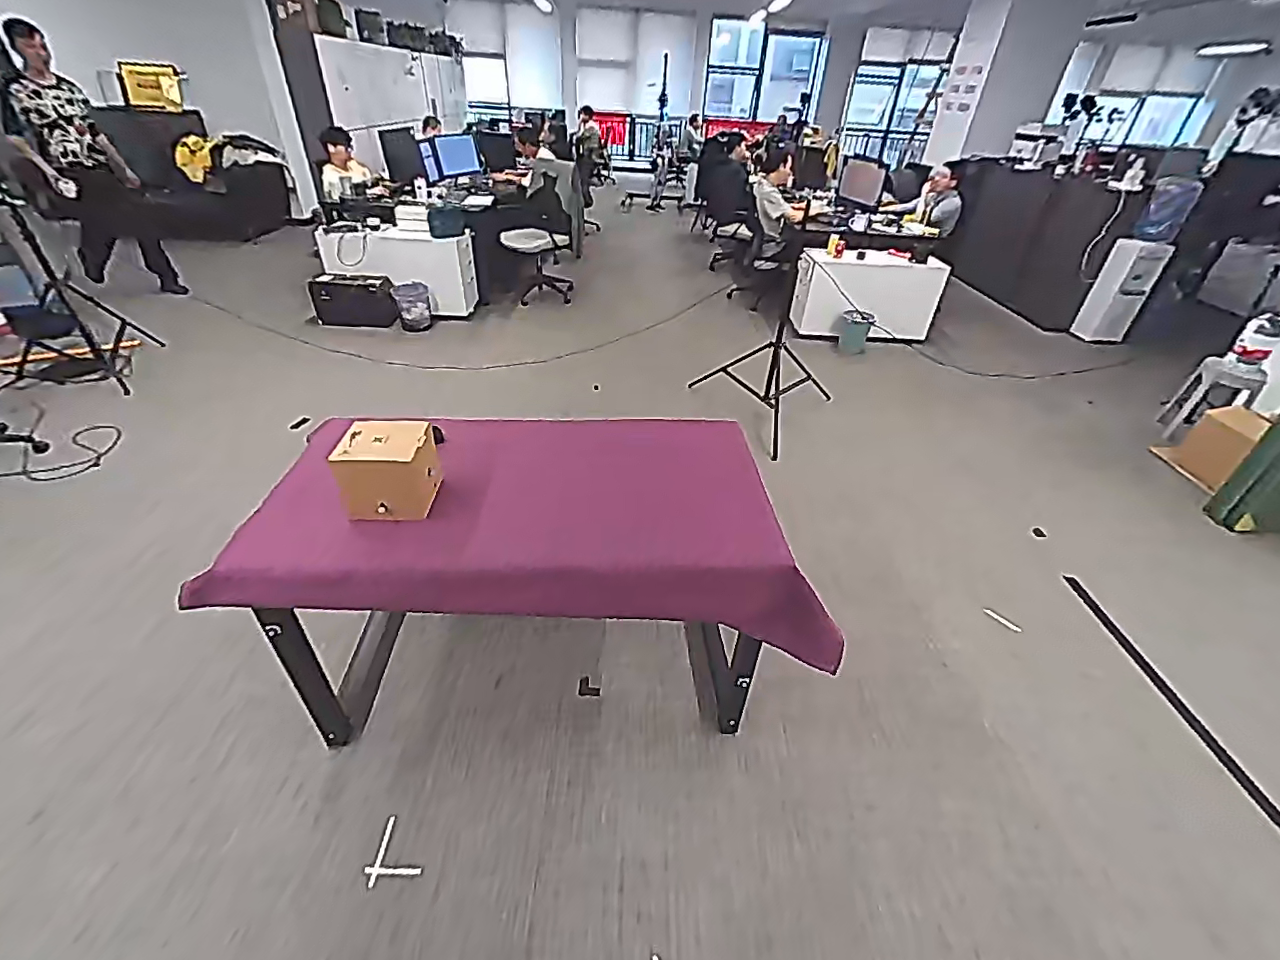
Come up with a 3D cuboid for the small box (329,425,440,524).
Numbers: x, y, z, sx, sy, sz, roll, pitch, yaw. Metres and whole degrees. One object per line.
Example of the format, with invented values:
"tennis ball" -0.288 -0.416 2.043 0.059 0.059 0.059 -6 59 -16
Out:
"small box" -0.578 -0.010 1.254 0.179 0.176 0.168 1 35 -5
